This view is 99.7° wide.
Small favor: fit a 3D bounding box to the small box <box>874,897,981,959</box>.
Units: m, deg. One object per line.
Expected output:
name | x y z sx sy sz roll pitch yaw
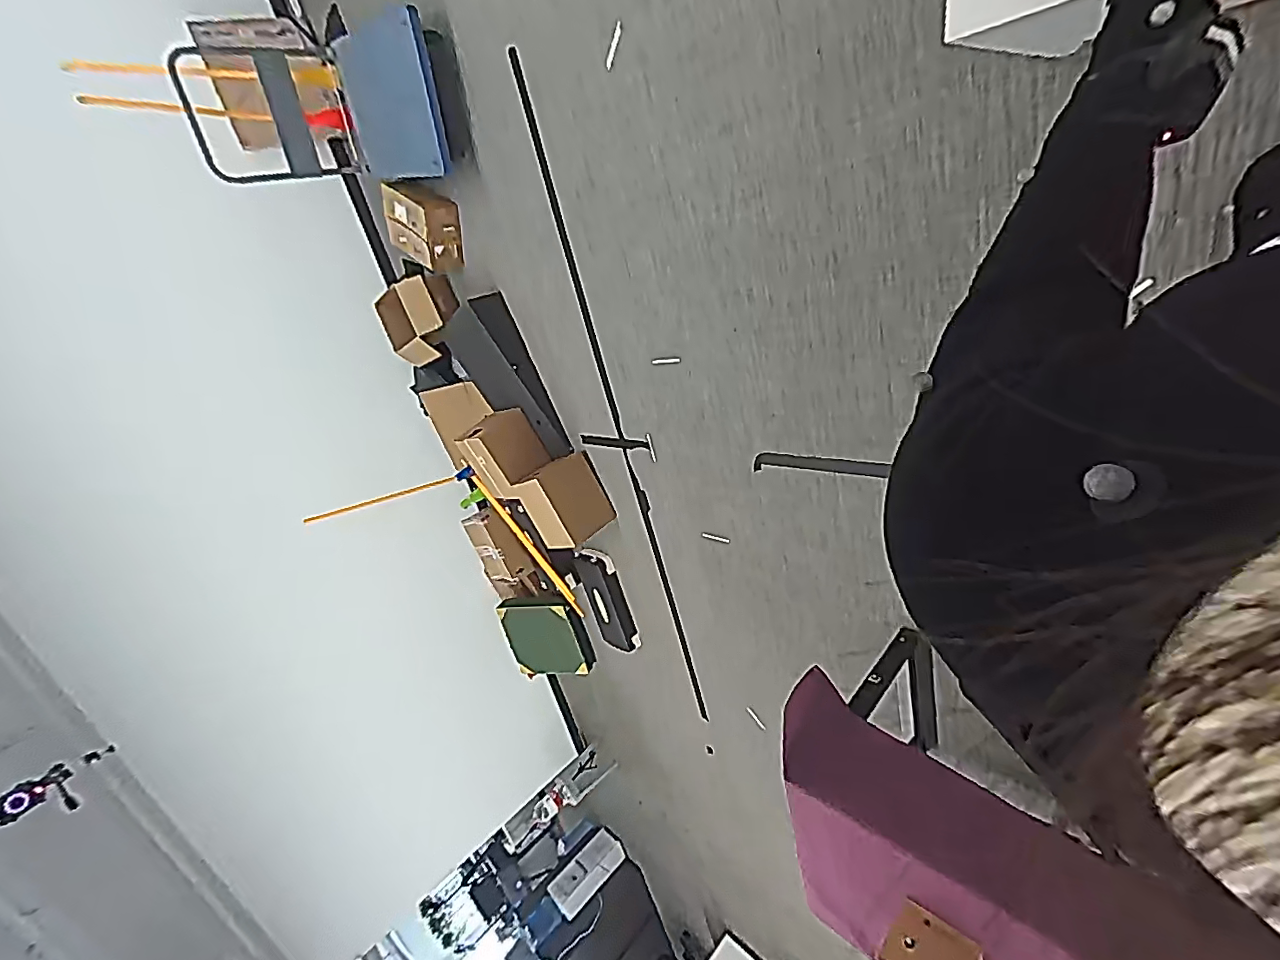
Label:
small box | 0.649 1.103 1.216 0.168 0.176 0.179 10 123 48
